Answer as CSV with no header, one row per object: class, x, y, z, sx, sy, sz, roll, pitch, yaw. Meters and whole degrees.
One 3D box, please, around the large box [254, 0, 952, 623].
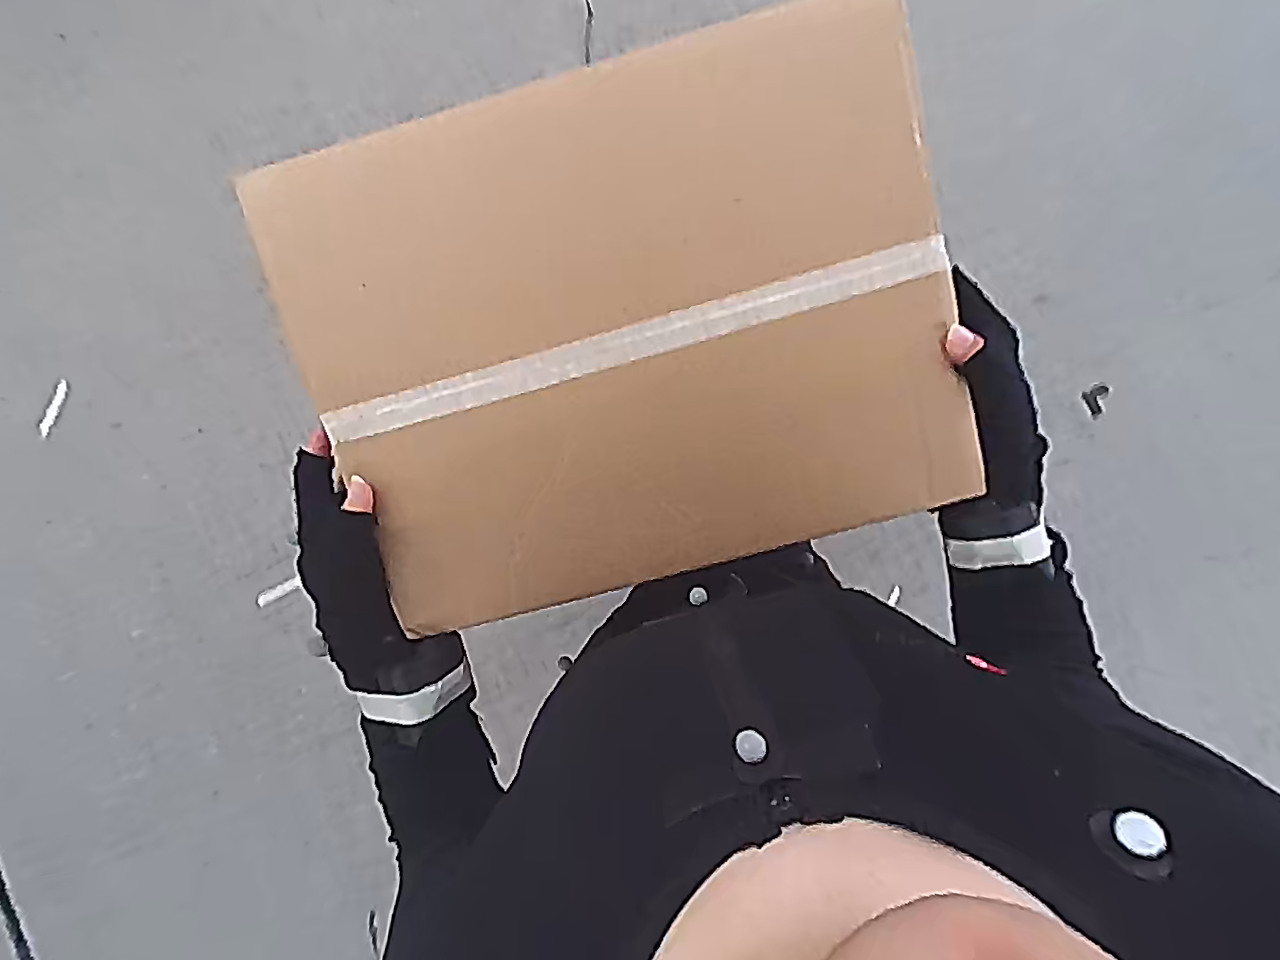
large box,-0.013,-0.120,0.501,0.408,0.320,0.320,-15,99,3
